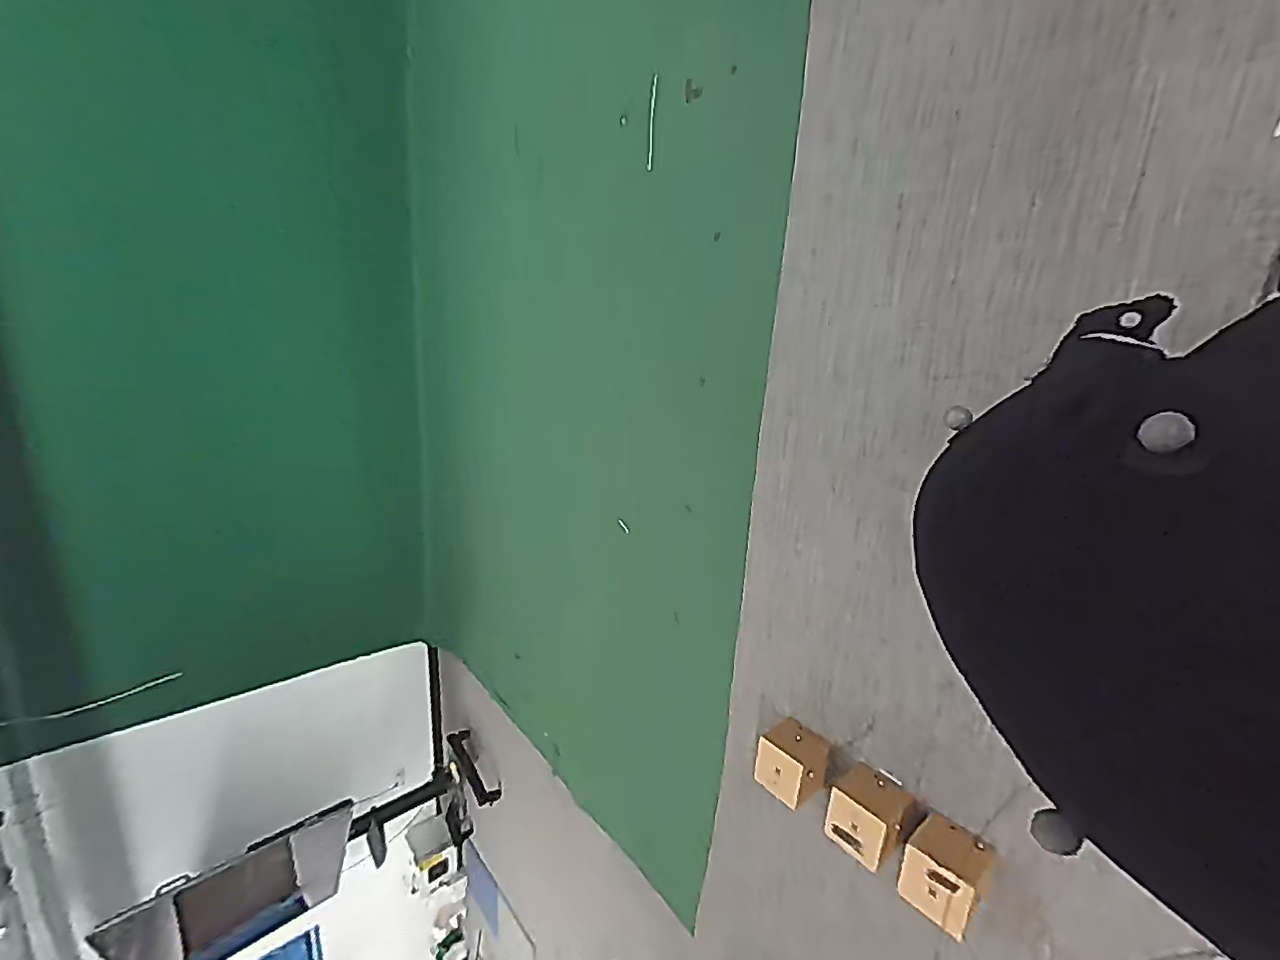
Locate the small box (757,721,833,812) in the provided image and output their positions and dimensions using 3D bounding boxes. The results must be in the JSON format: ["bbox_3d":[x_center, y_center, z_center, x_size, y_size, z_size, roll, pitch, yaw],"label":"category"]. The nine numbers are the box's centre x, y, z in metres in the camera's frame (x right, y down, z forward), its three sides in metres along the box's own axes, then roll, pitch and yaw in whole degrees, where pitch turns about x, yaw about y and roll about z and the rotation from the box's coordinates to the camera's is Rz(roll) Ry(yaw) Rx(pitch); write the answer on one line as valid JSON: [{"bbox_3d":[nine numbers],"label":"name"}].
[{"bbox_3d":[0.514,0.934,1.783,0.168,0.176,0.179,21,112,47],"label":"small box"}]

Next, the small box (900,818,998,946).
[{"bbox_3d":[0.821,1.049,1.431,0.168,0.176,0.179,19,112,47],"label":"small box"}]
